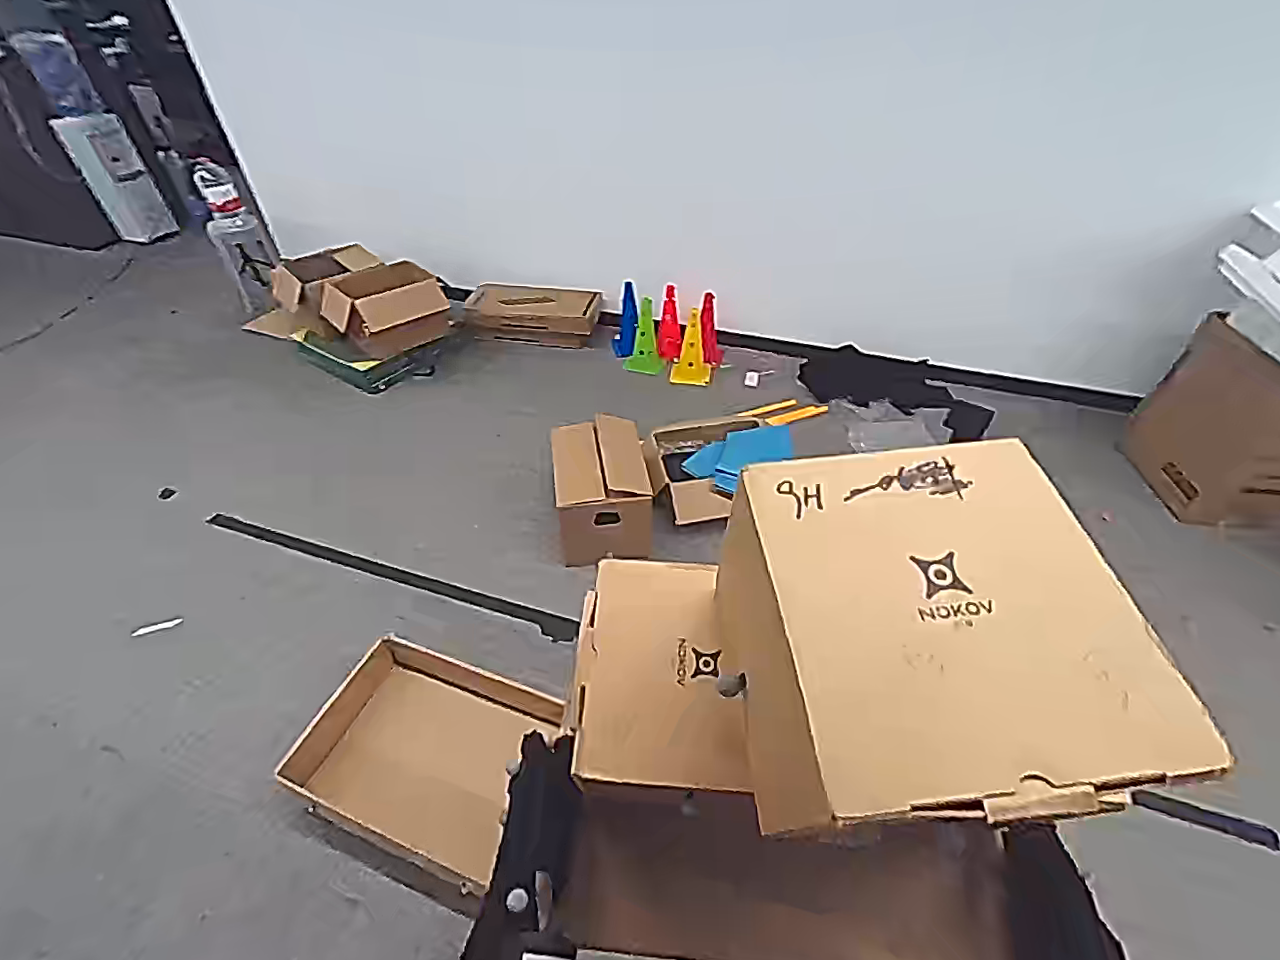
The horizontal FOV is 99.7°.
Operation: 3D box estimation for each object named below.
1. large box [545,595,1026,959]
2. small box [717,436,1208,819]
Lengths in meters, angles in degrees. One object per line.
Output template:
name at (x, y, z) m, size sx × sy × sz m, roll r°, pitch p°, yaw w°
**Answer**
large box at (0.123, 0.353, 0.648) m, size 0.408 × 0.320 × 0.320 m, roll 3°, pitch 54°, yaw 2°
small box at (0.147, 0.098, 0.331) m, size 0.168 × 0.176 × 0.179 m, roll -6°, pitch 55°, yaw -3°
